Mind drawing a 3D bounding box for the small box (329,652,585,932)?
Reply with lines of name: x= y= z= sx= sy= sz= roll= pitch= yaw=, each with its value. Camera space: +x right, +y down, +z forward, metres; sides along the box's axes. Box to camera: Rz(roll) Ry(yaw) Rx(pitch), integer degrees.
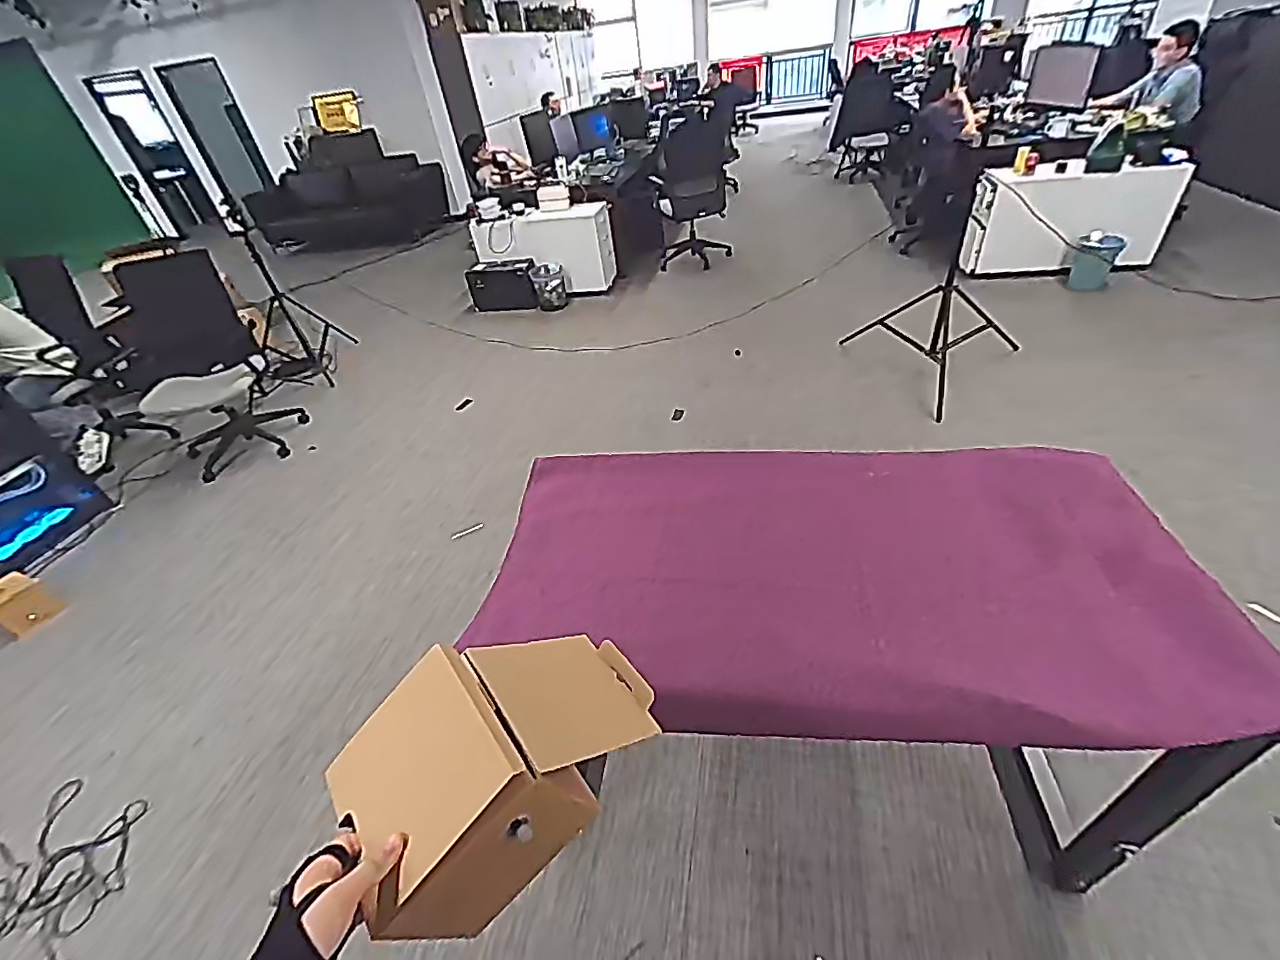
small box: x=-0.177 y=0.324 z=0.568 sx=0.179 sy=0.176 sz=0.168 roll=-40 pitch=48 yaw=-14
